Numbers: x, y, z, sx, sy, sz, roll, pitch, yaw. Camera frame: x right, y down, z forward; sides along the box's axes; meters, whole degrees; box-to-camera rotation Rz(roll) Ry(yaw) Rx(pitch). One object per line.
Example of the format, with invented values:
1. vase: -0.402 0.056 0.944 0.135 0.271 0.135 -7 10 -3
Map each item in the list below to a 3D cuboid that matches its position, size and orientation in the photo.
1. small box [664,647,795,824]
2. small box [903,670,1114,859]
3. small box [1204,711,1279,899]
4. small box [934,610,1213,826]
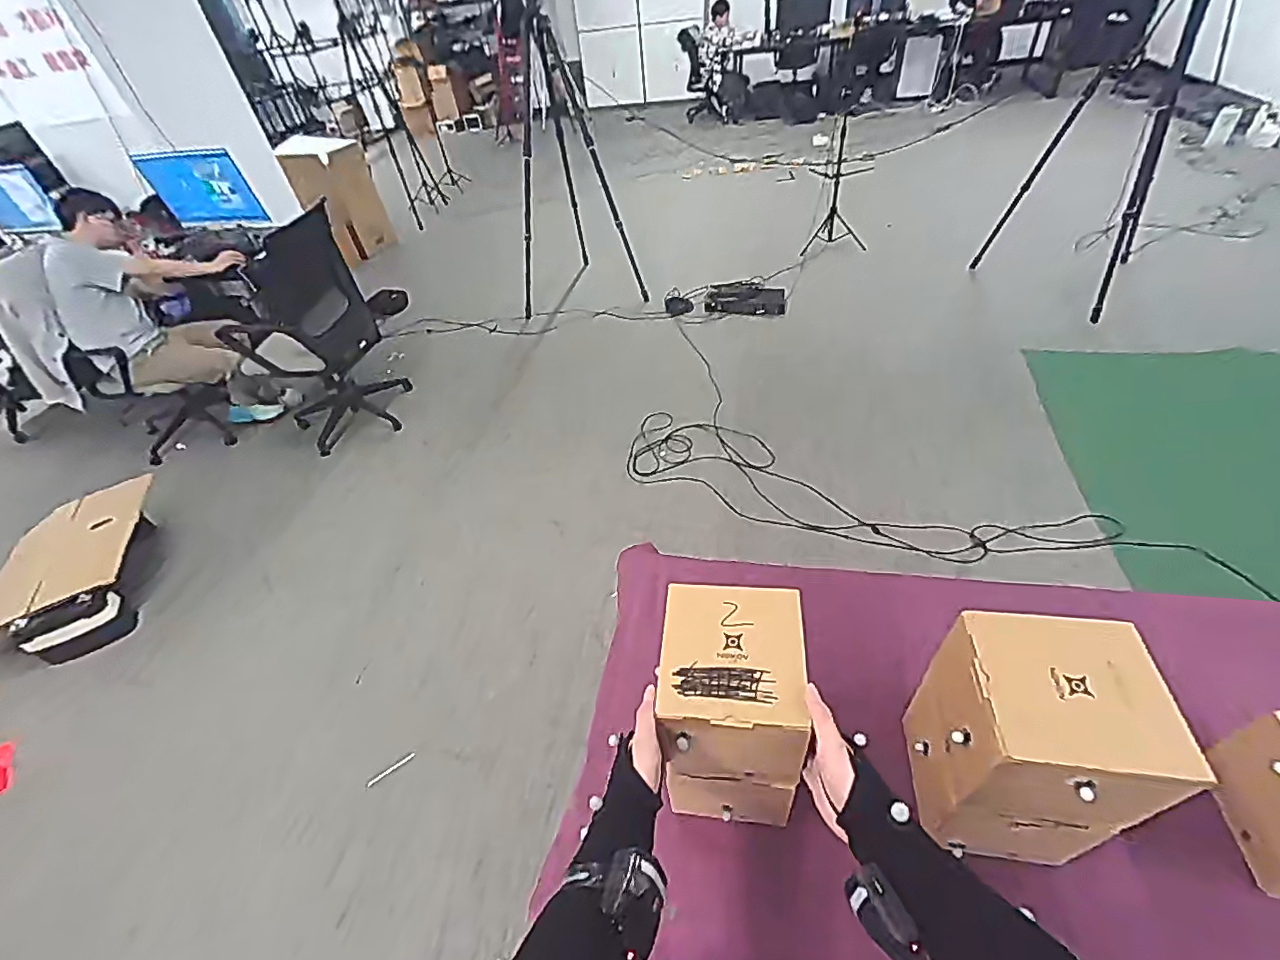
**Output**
1. small box: 0.130 0.370 0.787 0.168 0.176 0.179 1 45 10
2. small box: 0.470 0.383 0.726 0.168 0.176 0.179 2 44 11
3. small box: 0.853 0.403 0.647 0.179 0.176 0.168 3 44 12
4. small box: 0.453 0.268 0.611 0.179 0.176 0.168 3 46 10
